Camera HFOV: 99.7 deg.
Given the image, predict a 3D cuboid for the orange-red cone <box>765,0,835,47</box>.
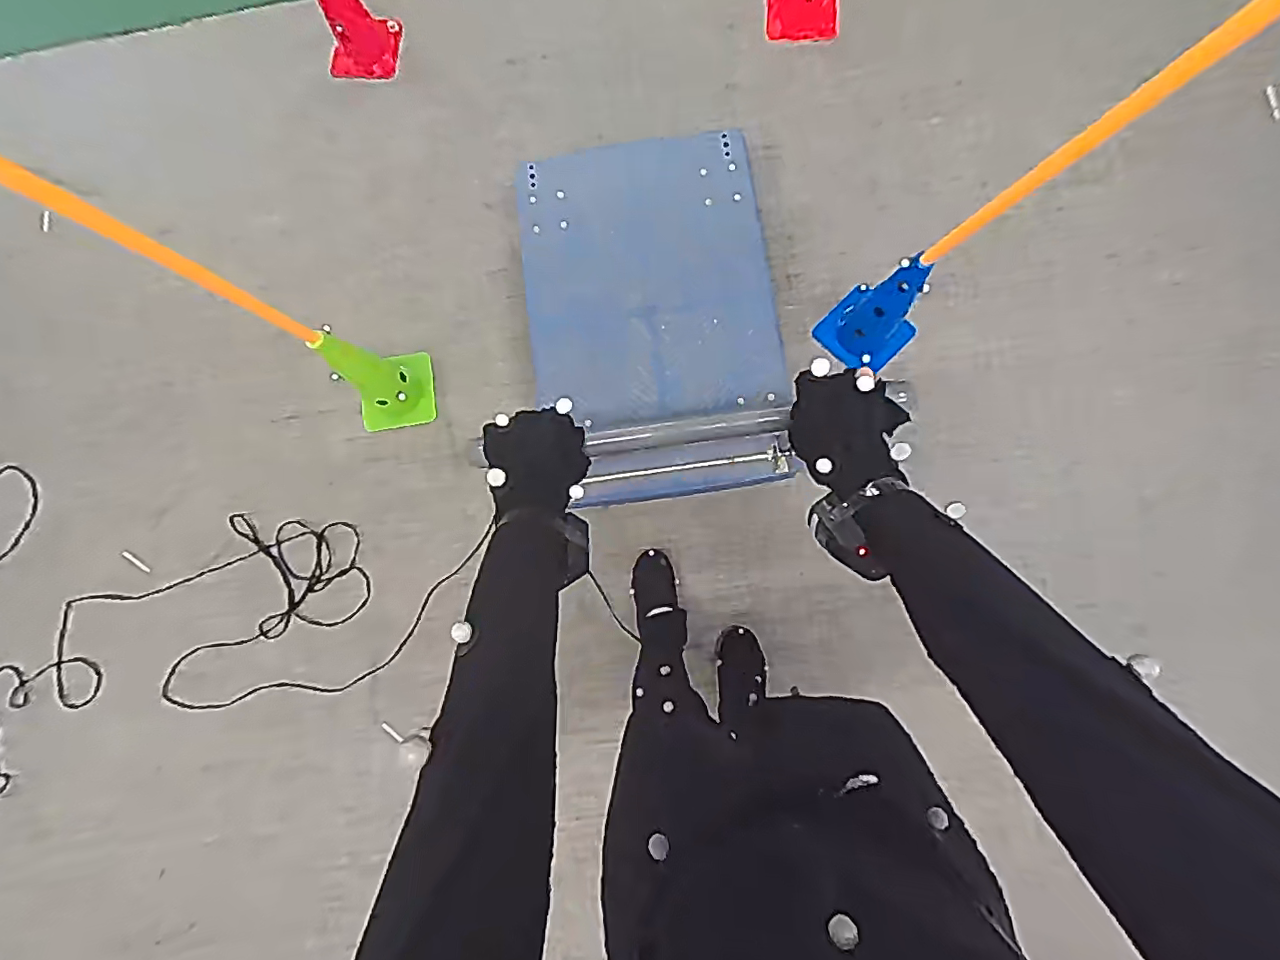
[{"bbox_3d":[0.451,-1.363,1.395,0.198,0.360,0.199,3,82,5],"label":"orange-red cone"}]
